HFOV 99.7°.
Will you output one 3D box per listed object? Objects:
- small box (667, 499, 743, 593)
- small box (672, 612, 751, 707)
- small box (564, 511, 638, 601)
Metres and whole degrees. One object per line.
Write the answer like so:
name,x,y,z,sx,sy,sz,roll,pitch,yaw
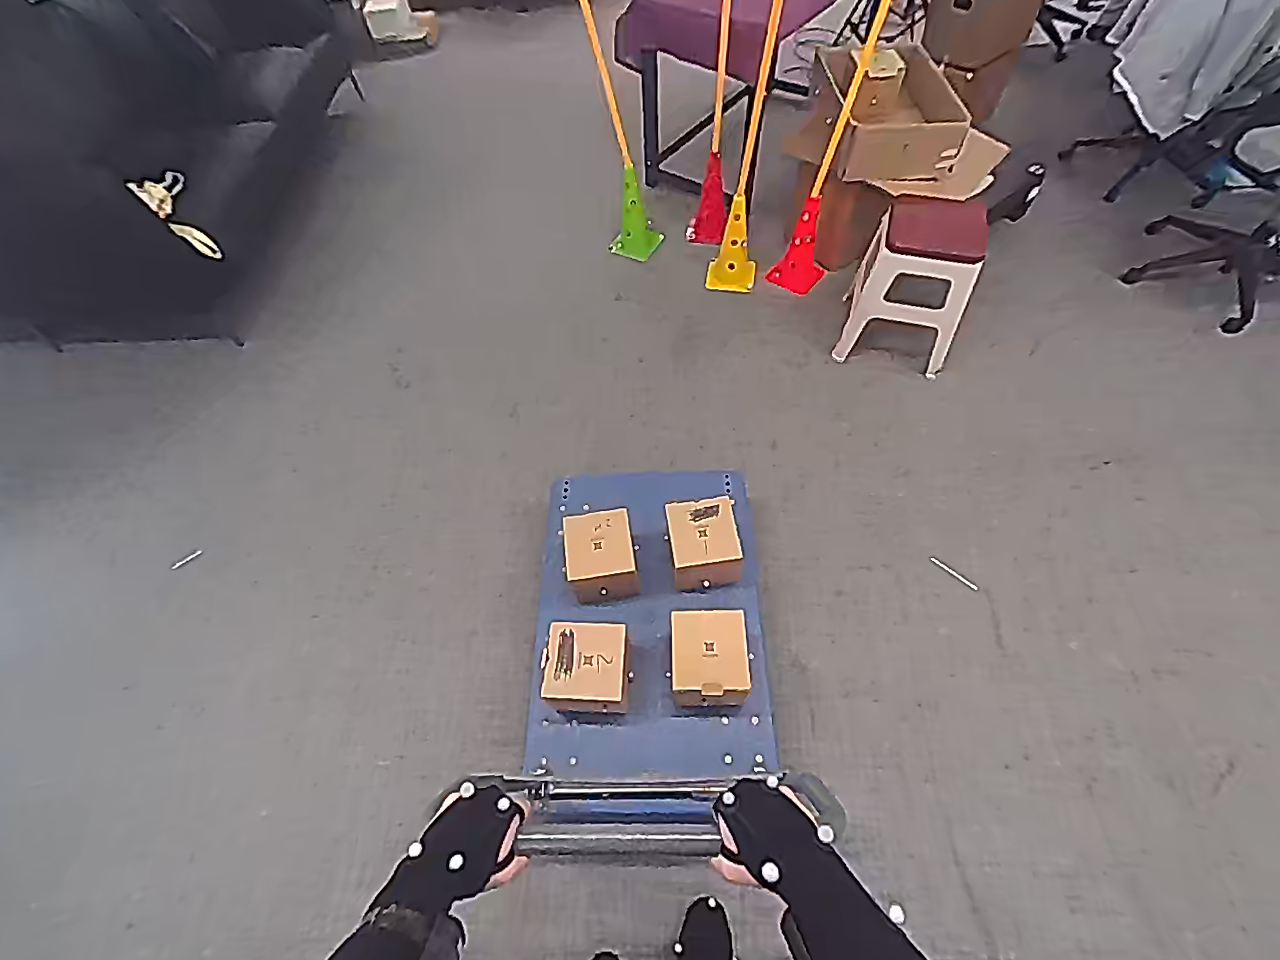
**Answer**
small box,0.160,0.173,1.396,0.168,0.176,0.179,-8,59,0
small box,0.158,0.417,1.248,0.168,0.176,0.179,-2,59,3
small box,-0.098,0.204,1.395,0.168,0.176,0.179,-8,59,-2
